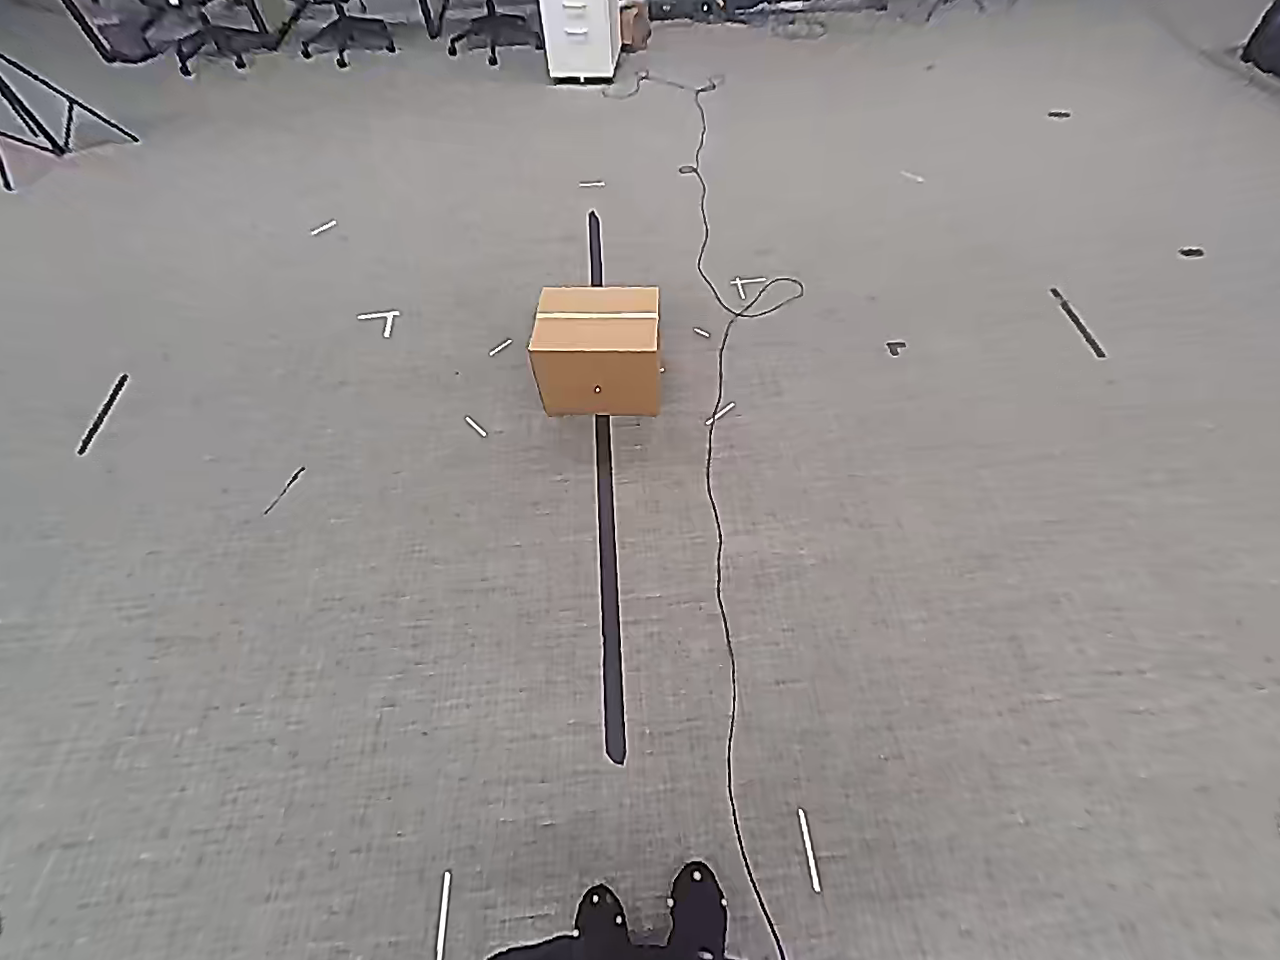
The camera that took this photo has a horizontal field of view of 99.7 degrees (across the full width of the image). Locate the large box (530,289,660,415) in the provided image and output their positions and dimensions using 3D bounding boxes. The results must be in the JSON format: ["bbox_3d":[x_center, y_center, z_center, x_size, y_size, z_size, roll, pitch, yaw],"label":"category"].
[{"bbox_3d":[-0.137,-0.437,1.873,0.408,0.320,0.320,1,57,3],"label":"large box"}]
